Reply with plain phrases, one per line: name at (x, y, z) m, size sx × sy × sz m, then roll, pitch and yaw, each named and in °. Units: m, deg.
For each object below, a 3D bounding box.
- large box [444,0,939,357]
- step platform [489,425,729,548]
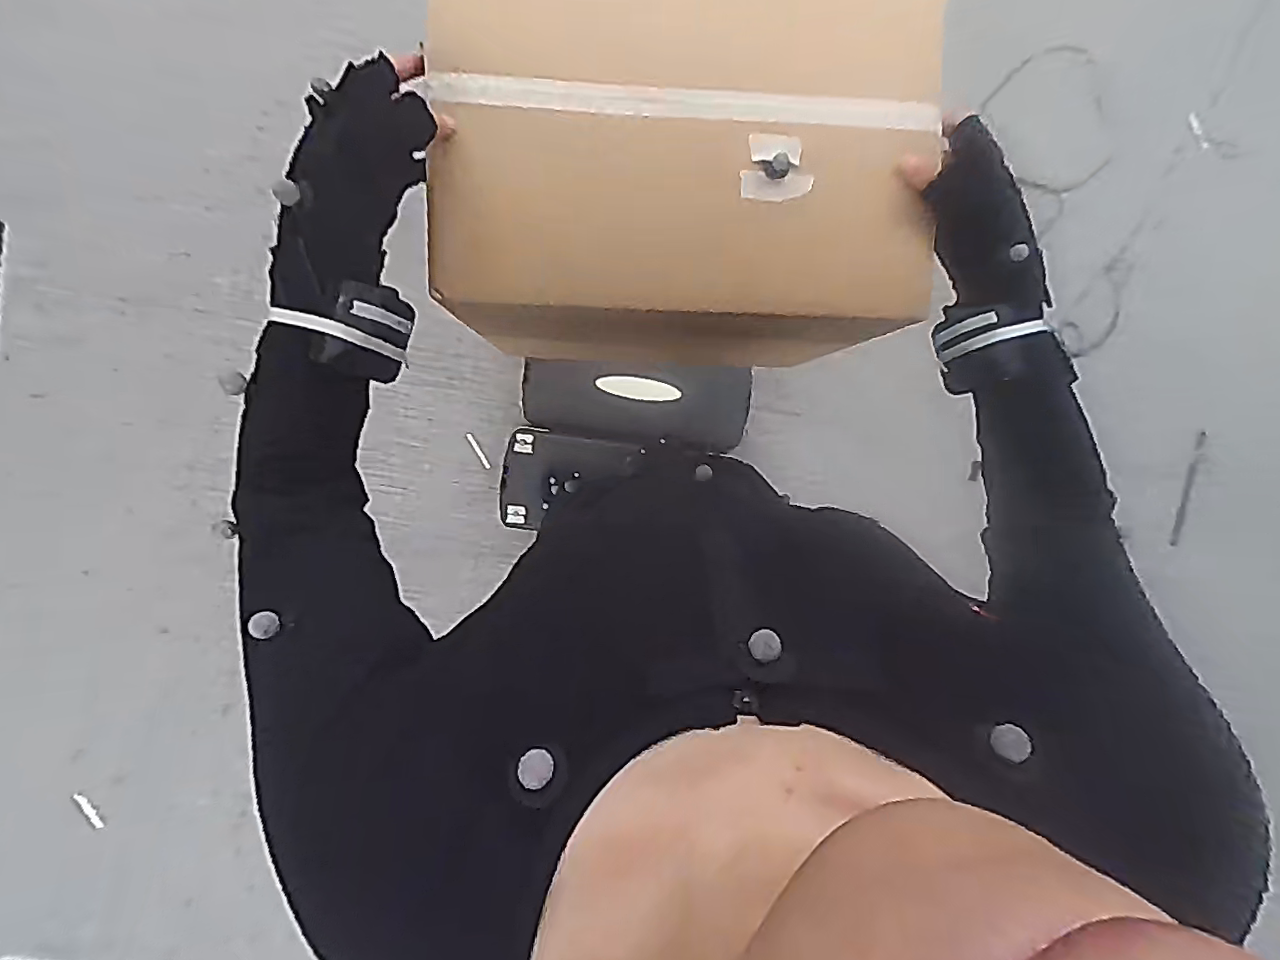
large box at (0.032, -0.313, 0.583) m, size 0.408 × 0.320 × 0.320 m, roll 1°, pitch 95°, yaw -5°
step platform at (-0.085, 0.019, 1.578) m, size 0.684 × 0.204 × 0.286 m, roll 7°, pitch 93°, yaw -3°
